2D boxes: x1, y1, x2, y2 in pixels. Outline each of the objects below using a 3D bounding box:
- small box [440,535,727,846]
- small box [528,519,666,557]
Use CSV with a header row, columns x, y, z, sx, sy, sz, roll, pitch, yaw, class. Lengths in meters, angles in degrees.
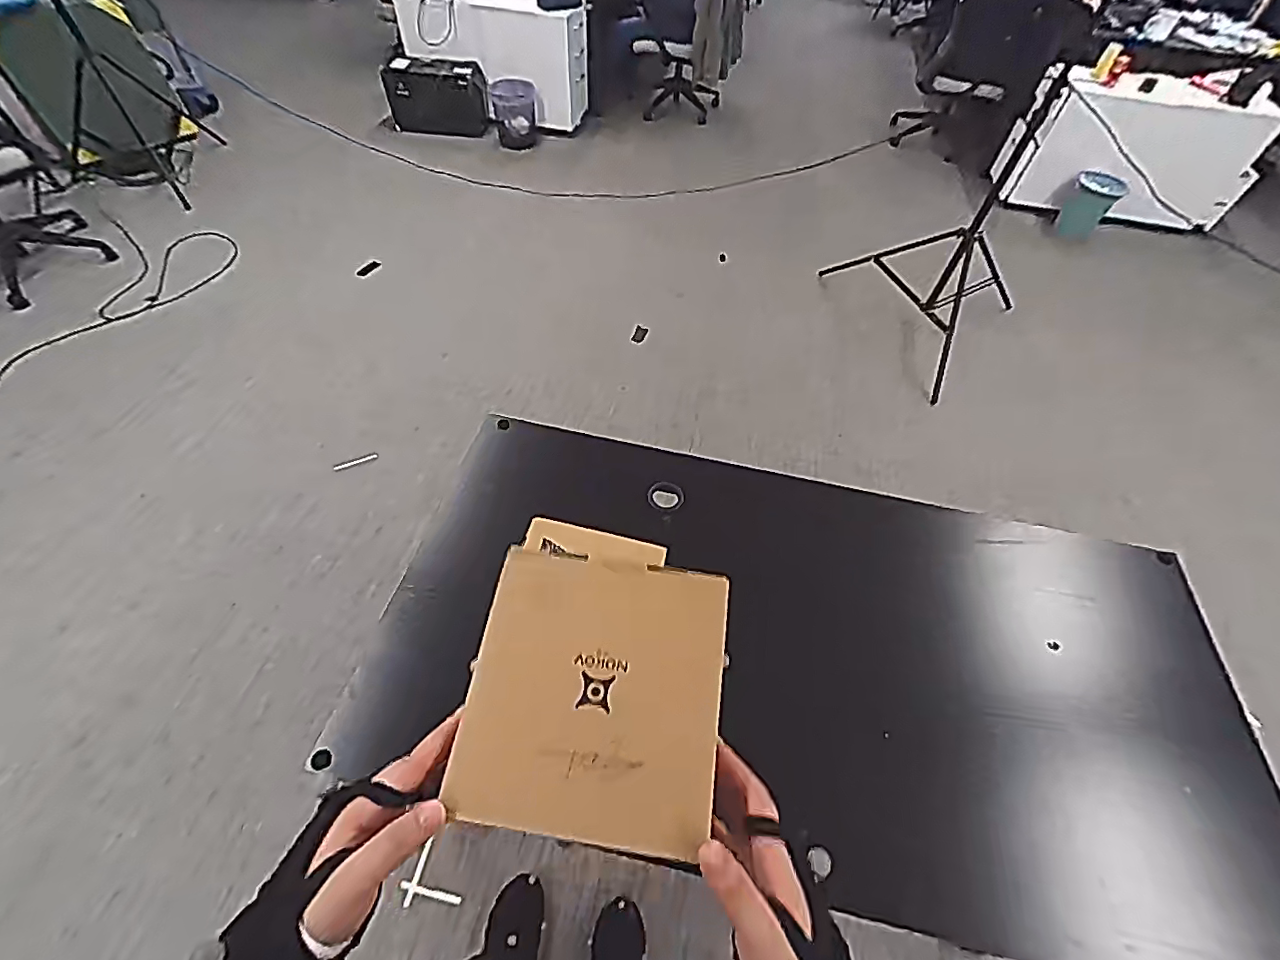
x,y,z,sx,sy,sz,roll,pitch,yaw,class
-0.032,0.165,0.430,0.168,0.176,0.179,8,62,3,small box
-0.074,0.177,0.700,0.179,0.176,0.168,13,53,4,small box
